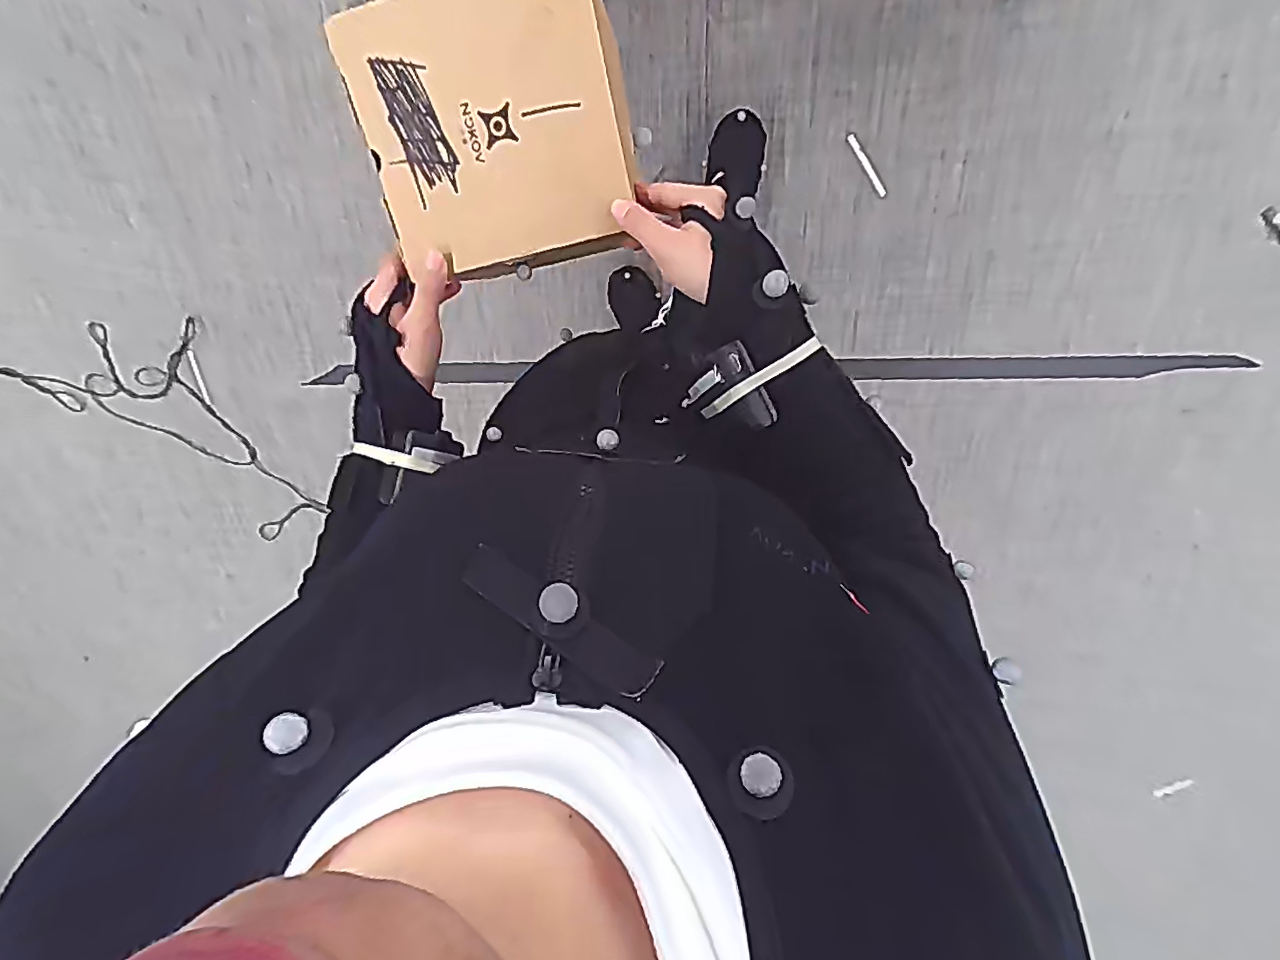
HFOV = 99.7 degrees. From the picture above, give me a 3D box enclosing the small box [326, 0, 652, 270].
[{"bbox_3d":[-0.093,-0.268,0.428,0.179,0.176,0.168,-10,110,8],"label":"small box"}]
